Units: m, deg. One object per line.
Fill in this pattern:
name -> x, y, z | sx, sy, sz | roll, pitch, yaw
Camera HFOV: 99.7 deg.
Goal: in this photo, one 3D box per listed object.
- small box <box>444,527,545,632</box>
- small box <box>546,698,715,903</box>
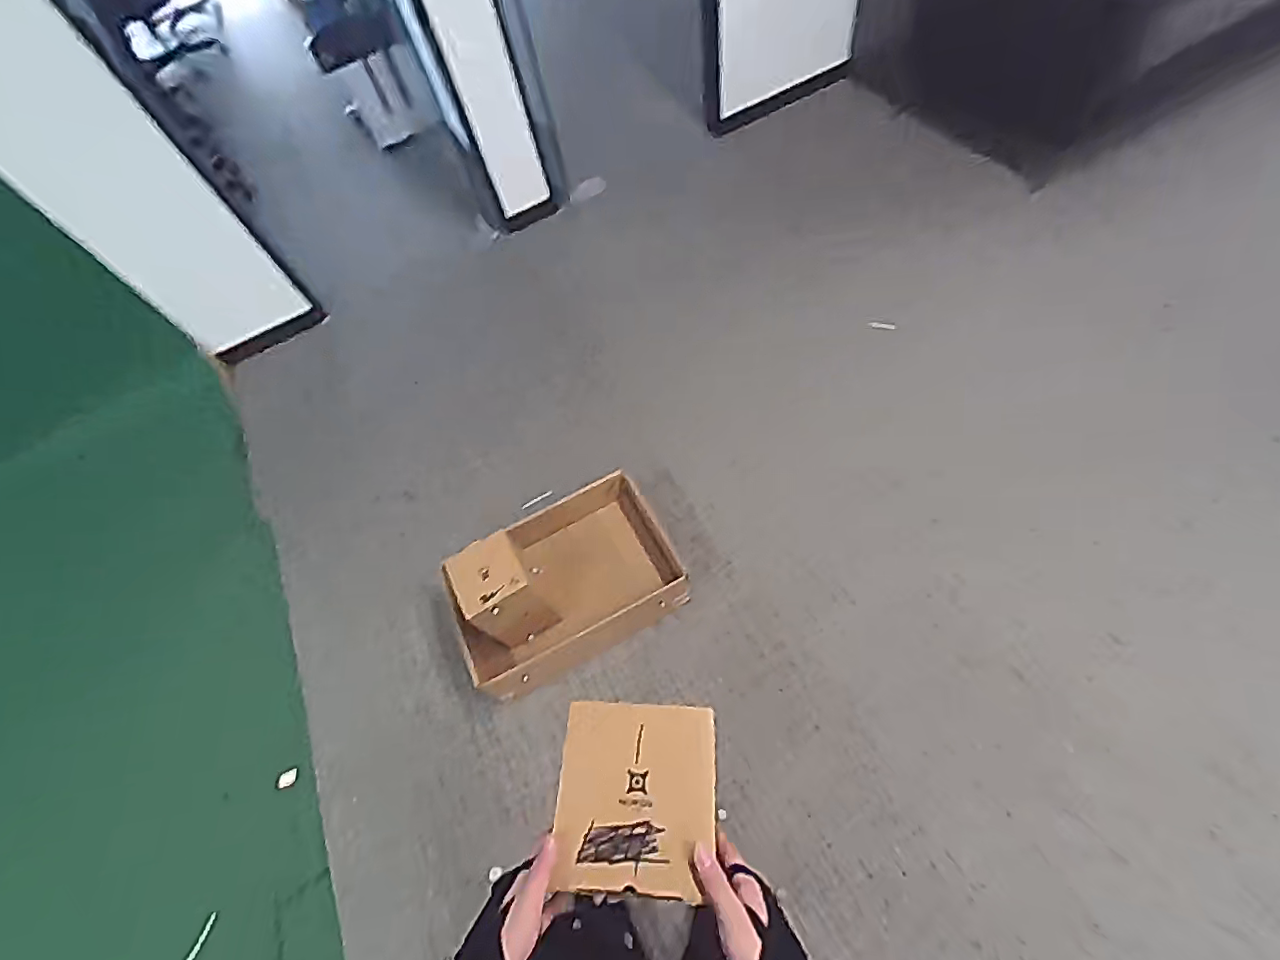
small box -> -0.365, 0.257, 1.375 | 0.168, 0.176, 0.179 | -30, 60, -8
small box -> 0.002, 0.369, 0.627 | 0.168, 0.176, 0.179 | 1, 54, 6
